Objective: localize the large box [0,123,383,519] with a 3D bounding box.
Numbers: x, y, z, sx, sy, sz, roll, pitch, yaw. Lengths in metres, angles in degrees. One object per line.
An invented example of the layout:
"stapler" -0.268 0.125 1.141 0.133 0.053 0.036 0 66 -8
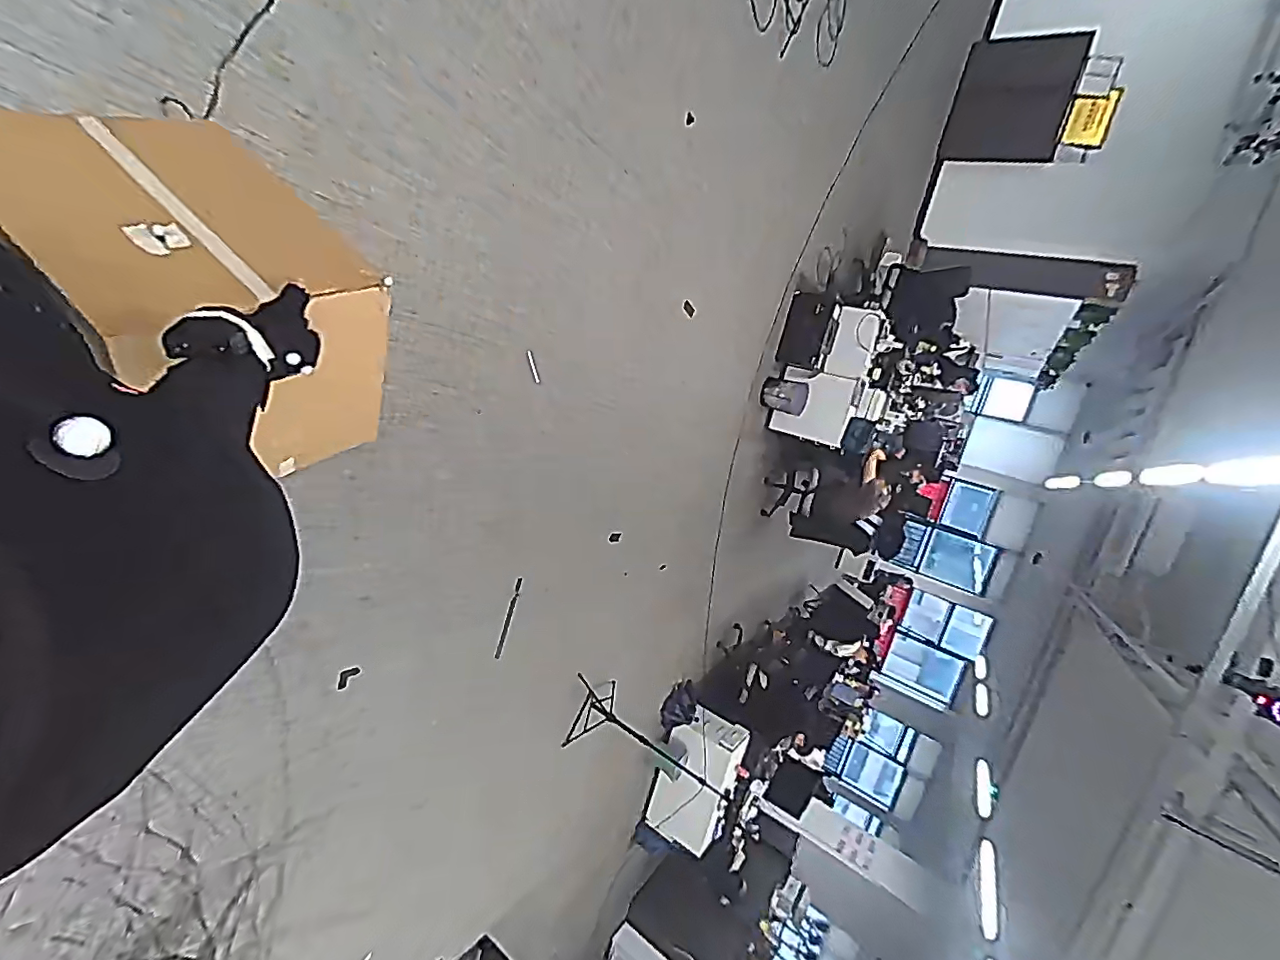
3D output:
"large box" -0.643 -0.227 0.764 0.320 0.408 0.320 -38 167 -46
